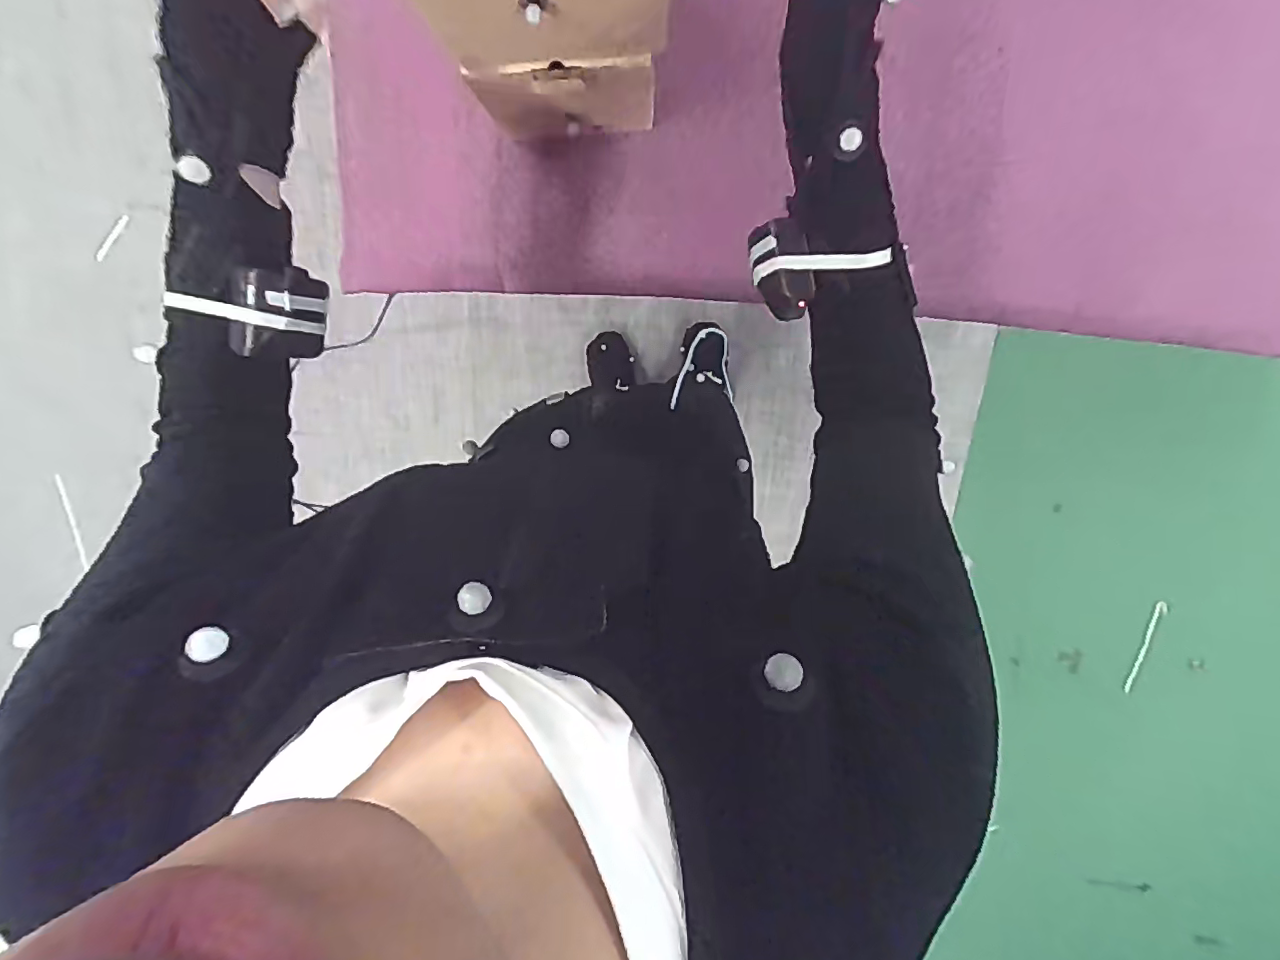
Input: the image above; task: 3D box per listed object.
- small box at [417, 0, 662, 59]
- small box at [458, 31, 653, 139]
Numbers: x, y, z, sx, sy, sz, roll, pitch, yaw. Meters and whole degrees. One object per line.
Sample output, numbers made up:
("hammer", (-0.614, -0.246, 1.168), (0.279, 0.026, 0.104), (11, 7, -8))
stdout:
("small box", (-0.069, -0.406, 0.348), (0.179, 0.176, 0.168), (0, 105, 1))
("small box", (-0.073, -0.450, 0.509), (0.168, 0.176, 0.179), (-2, 107, 2))
